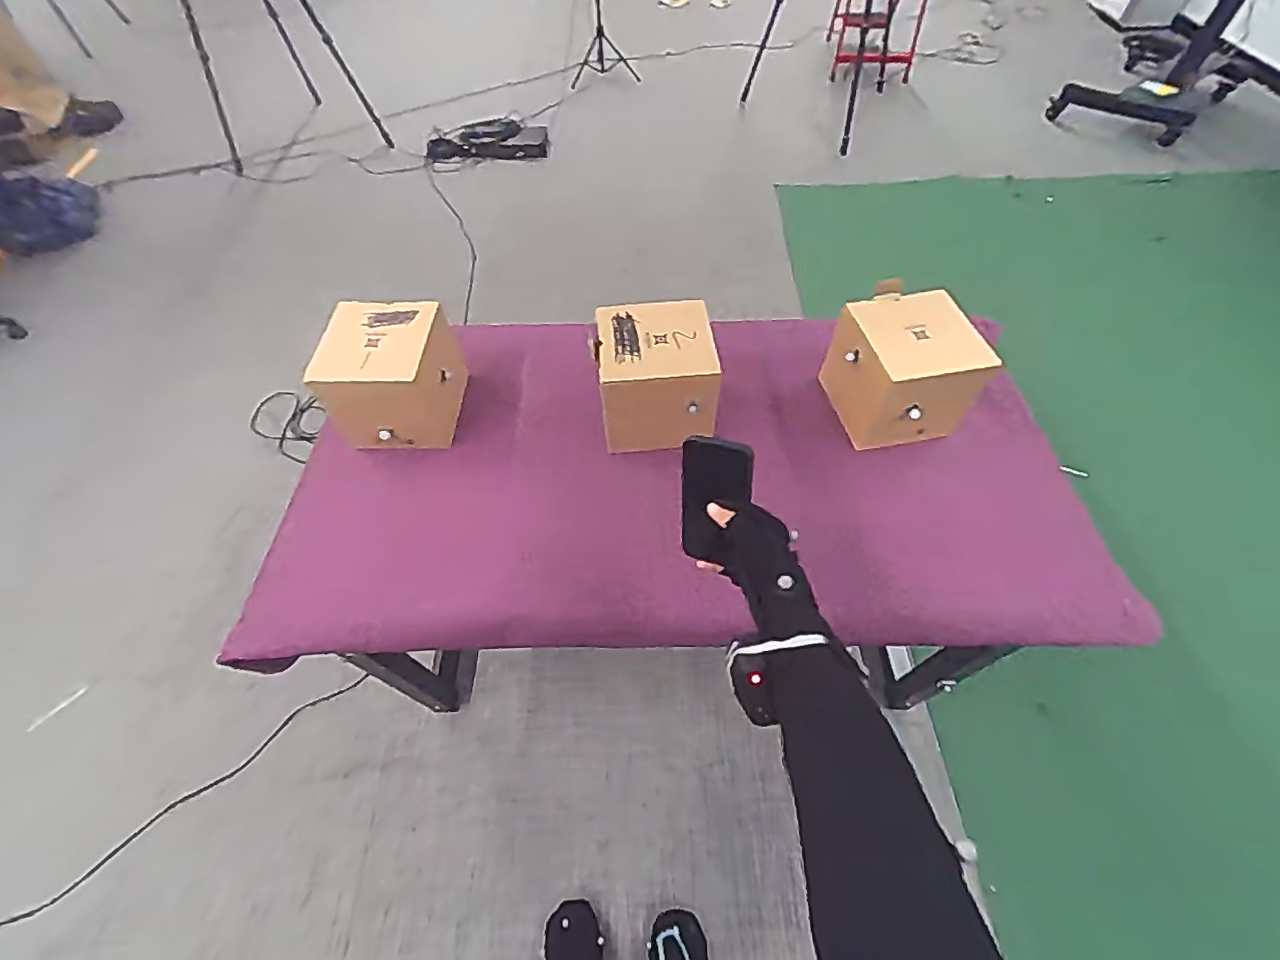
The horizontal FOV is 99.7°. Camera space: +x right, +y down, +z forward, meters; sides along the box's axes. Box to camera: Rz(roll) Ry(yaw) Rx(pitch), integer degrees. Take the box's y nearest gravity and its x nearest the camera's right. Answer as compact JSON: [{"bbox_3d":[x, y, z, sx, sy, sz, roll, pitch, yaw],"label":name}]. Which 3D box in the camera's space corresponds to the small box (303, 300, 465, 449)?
[{"bbox_3d":[-0.400,-0.170,0.884,0.168,0.176,0.179,1,58,2],"label":"small box"}]

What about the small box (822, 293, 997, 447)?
[{"bbox_3d":[0.414,-0.167,0.867,0.168,0.176,0.179,-9,56,-4],"label":"small box"}]
